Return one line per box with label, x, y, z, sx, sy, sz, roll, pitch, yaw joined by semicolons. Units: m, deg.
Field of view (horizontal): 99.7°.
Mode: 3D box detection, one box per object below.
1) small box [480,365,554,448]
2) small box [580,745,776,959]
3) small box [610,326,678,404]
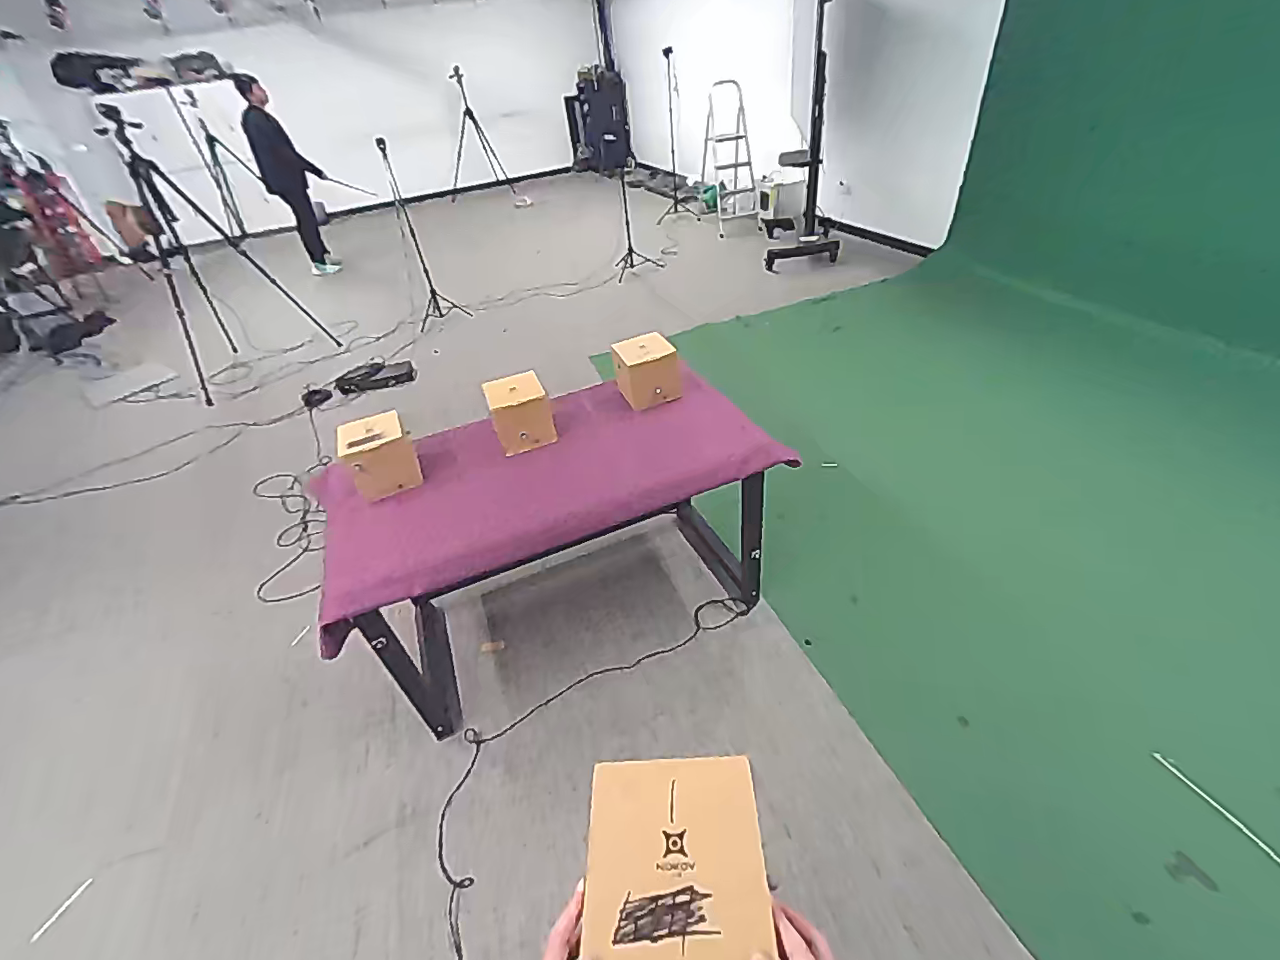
small box;-0.371;-0.222;1.637;0.168;0.176;0.179;-18;42;-14
small box;0.042;0.400;0.552;0.168;0.176;0.179;-5;37;4
small box;0.014;-0.372;1.751;0.168;0.176;0.179;-20;42;-11
